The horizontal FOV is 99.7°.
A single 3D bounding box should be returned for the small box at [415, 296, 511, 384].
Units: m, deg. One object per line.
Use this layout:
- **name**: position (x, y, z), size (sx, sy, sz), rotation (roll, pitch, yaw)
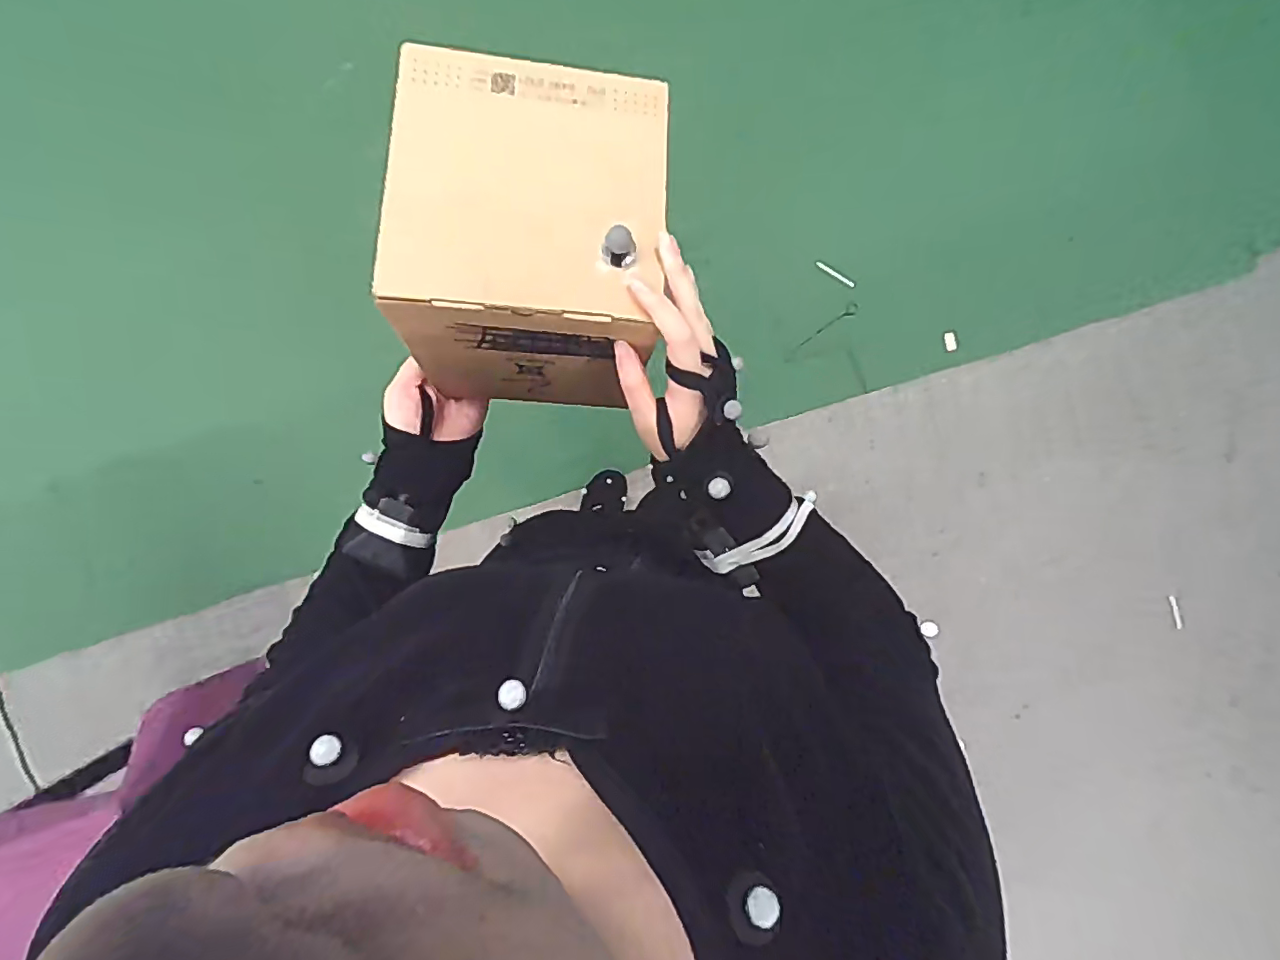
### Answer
- **small box**: position (-0.443, -0.353, 1.388), size (0.179, 0.176, 0.168), rotation (-15, 93, 0)
